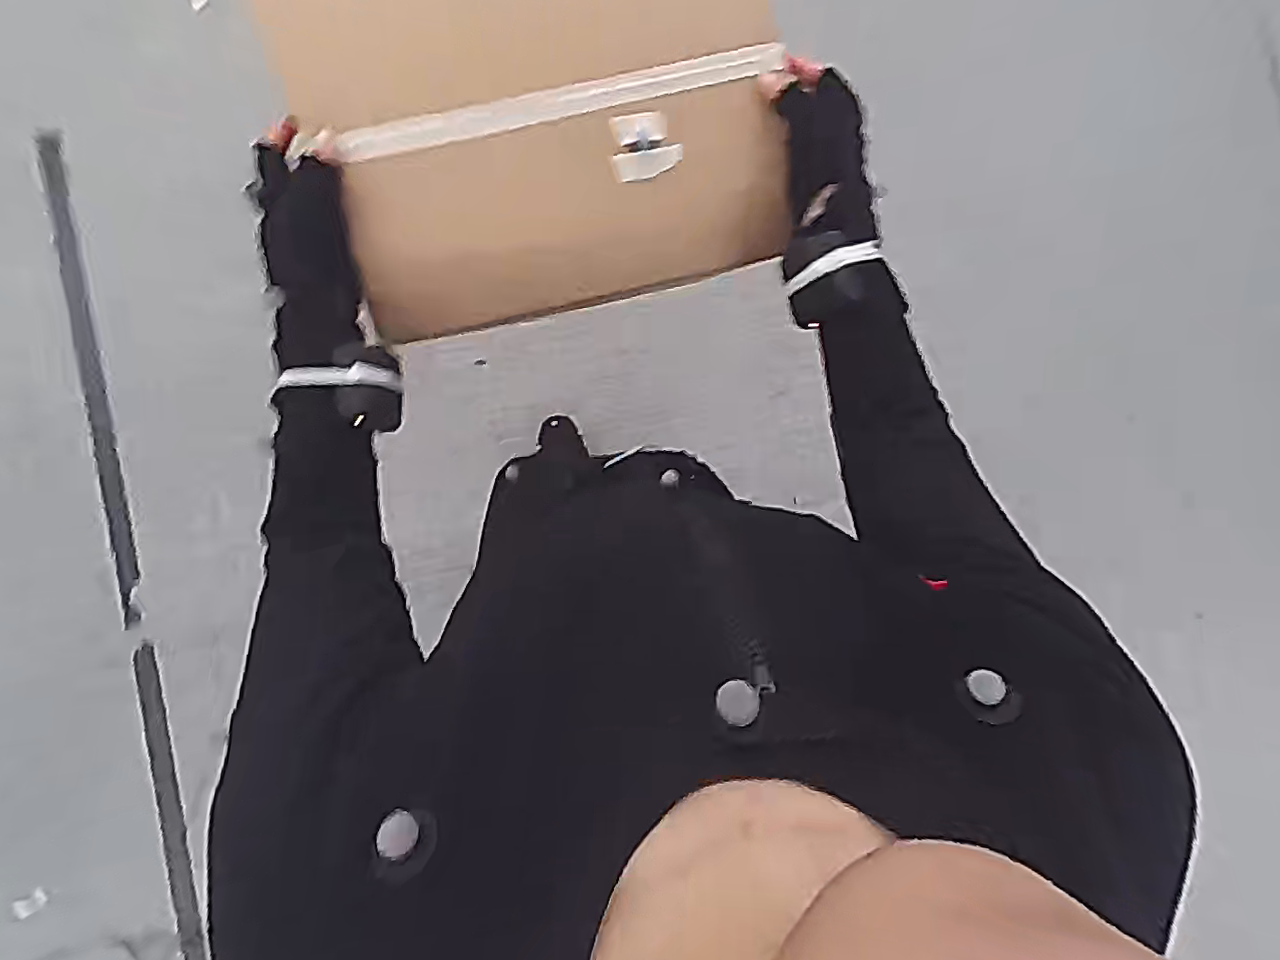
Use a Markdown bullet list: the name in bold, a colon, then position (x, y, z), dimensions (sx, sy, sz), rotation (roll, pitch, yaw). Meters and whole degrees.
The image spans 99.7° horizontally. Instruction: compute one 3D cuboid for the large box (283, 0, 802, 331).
- **large box**: position (-0.088, -0.367, 0.605), dimensions (0.408, 0.320, 0.320), rotation (-14, 109, -5)
